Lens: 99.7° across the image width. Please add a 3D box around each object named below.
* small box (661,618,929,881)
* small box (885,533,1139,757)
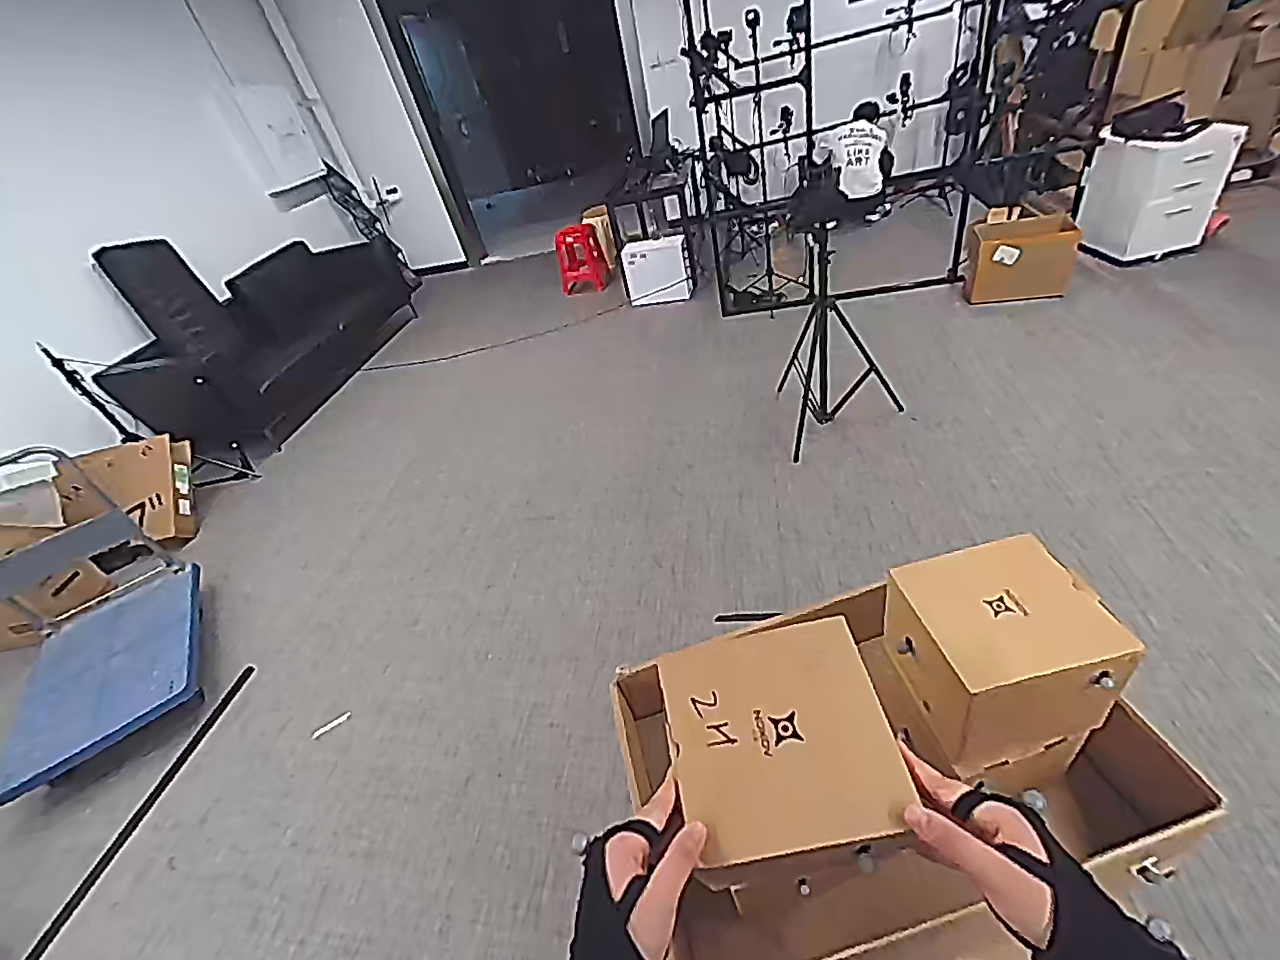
[{"bbox_3d":[0.128,0.252,0.498,0.179,0.176,0.168,-13,48,5],"label":"small box"},{"bbox_3d":[0.409,0.195,0.634,0.179,0.176,0.168,-16,39,2],"label":"small box"}]
